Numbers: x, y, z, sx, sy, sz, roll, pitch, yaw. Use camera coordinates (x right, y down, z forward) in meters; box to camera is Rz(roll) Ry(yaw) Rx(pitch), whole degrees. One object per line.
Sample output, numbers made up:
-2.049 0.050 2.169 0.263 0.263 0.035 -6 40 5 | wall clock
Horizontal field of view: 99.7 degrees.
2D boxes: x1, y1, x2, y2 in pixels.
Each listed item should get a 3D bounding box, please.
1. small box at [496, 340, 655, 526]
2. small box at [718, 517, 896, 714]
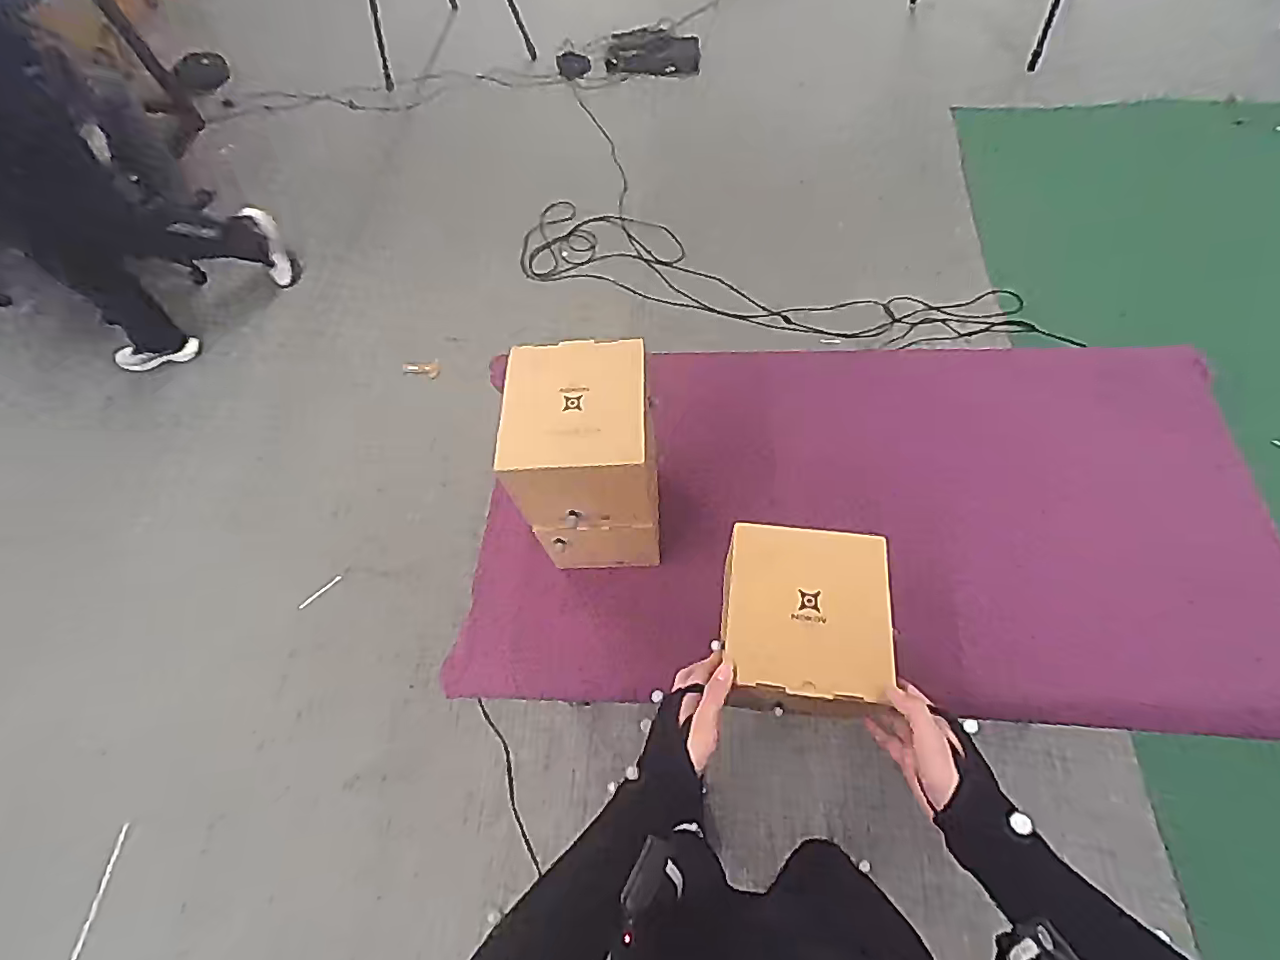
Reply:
-0.068 -0.054 0.685 0.168 0.176 0.179 -1 63 4 | small box
0.184 0.164 0.637 0.168 0.176 0.179 6 63 8 | small box
